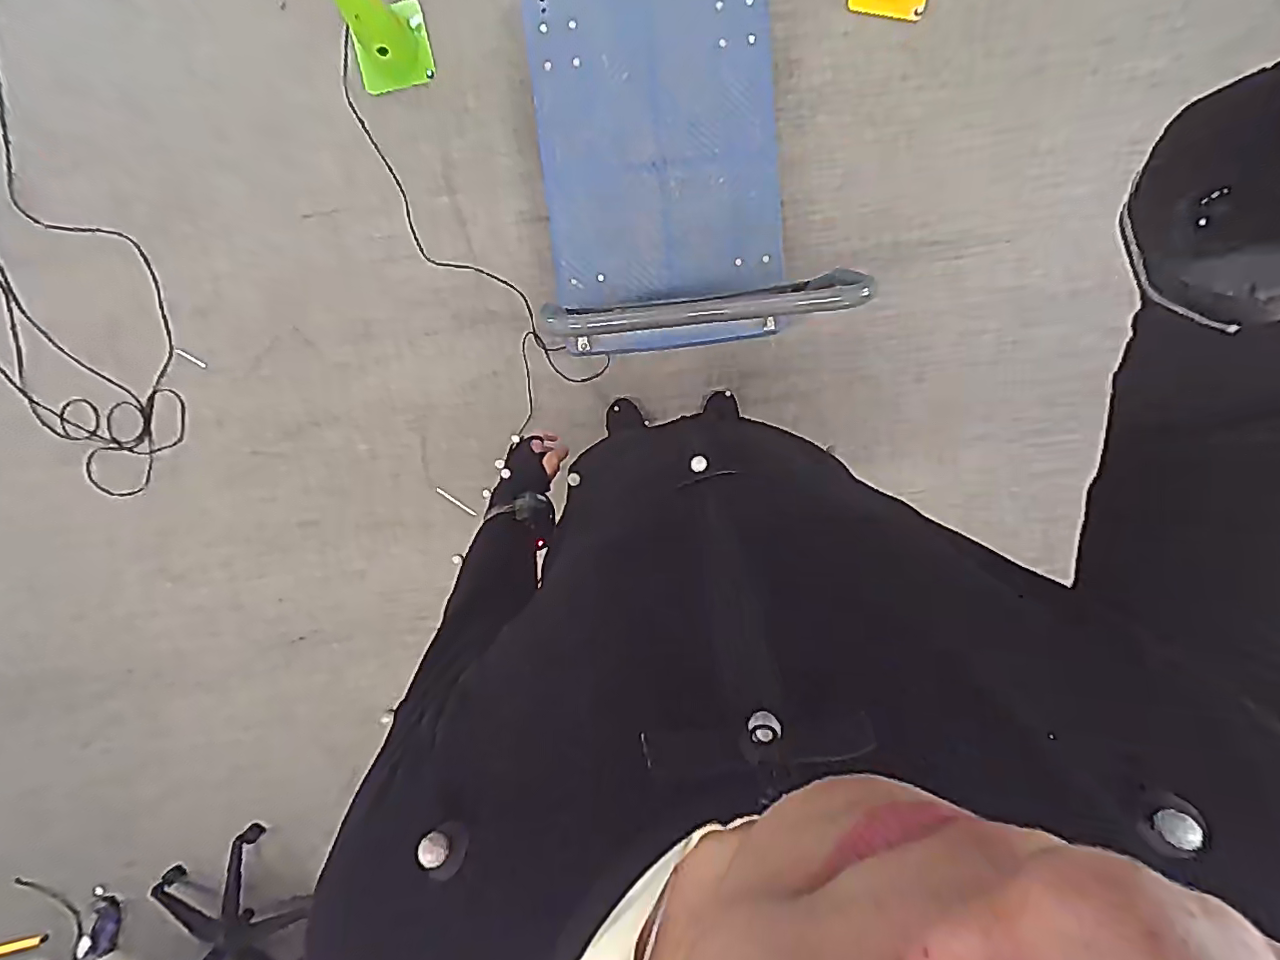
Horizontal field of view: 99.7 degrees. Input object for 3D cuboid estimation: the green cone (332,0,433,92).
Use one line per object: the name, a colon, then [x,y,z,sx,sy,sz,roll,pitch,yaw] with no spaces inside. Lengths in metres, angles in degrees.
green cone: [-0.673,-1.131,1.269,0.202,0.368,0.200,-11,99,5]
